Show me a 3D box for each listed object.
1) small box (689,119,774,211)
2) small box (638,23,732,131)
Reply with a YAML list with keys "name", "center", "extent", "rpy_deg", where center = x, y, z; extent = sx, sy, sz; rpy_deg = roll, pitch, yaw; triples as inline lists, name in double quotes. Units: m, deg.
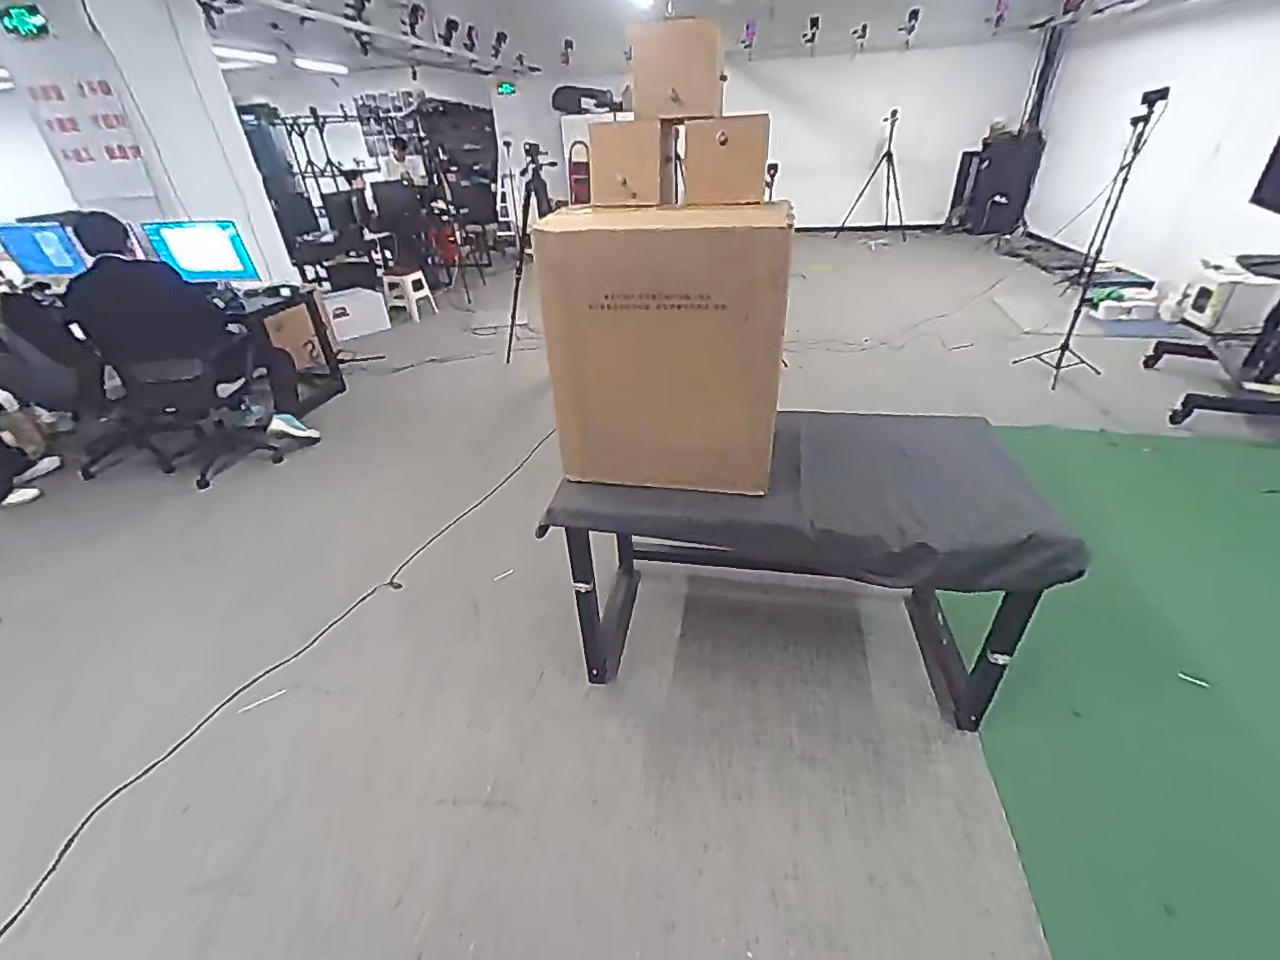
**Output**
- name: "small box"
  center: [0.209, -0.712, 1.234]
  extent: [0.179, 0.176, 0.168]
  rpy_deg: [6, 30, 11]
- name: "small box"
  center: [0.099, -0.869, 1.182]
  extent: [0.179, 0.176, 0.168]
  rpy_deg: [6, 29, 12]
